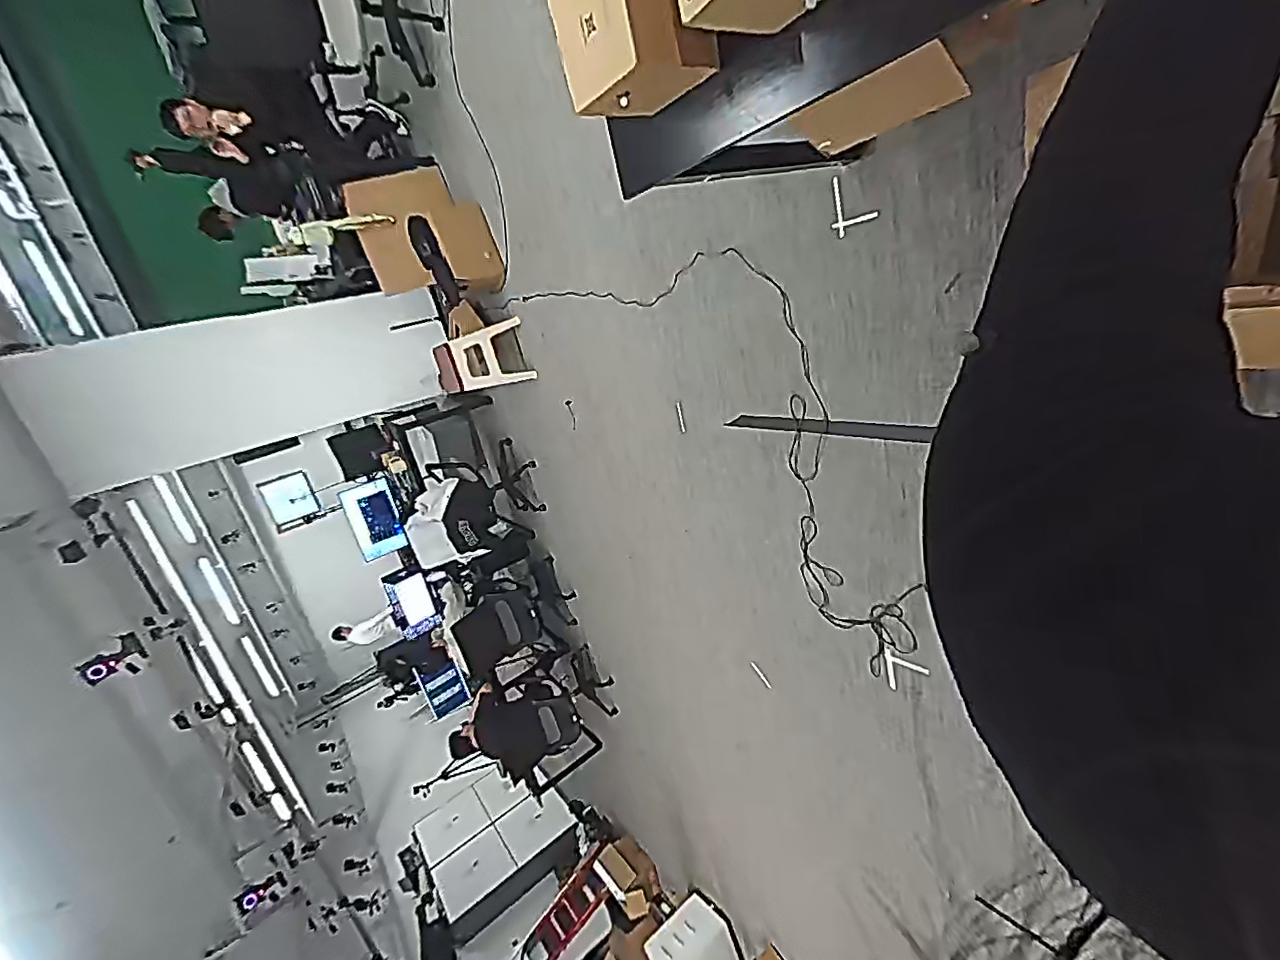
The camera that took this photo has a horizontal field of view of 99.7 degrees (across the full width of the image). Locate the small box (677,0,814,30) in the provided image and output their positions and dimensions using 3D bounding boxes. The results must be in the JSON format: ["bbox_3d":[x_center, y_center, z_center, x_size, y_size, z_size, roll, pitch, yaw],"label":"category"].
[{"bbox_3d":[0.141,-0.630,0.584,0.179,0.176,0.168,8,118,53],"label":"small box"}]

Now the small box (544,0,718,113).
[{"bbox_3d":[-0.013,-0.665,0.795,0.179,0.176,0.168,11,122,52],"label":"small box"}]
